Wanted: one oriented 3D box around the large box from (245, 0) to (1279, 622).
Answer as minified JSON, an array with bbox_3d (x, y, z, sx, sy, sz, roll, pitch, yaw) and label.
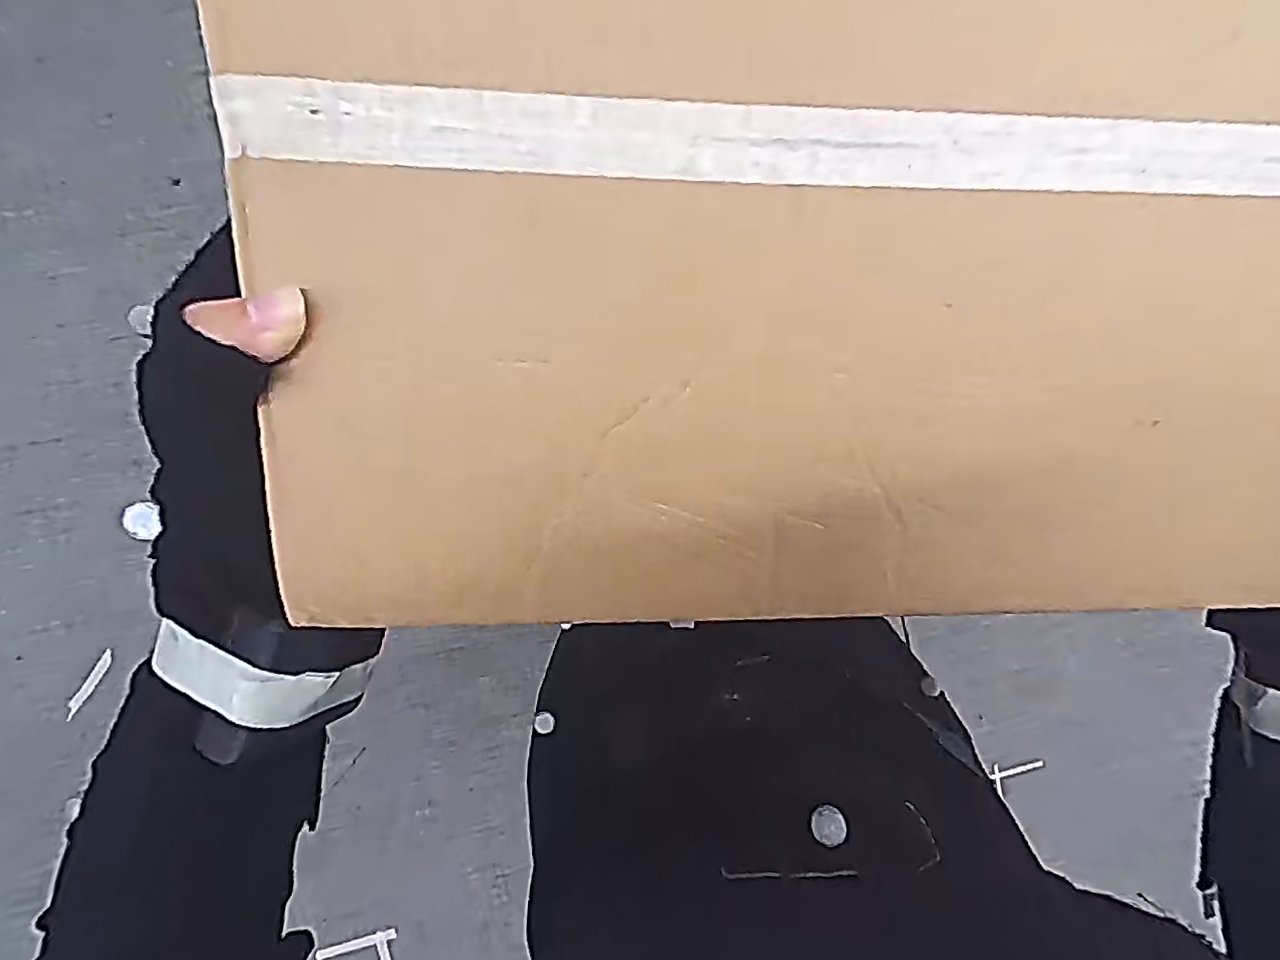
[{"bbox_3d":[0.071,-0.132,0.329,0.408,0.320,0.320,-1,101,-4],"label":"large box"}]
